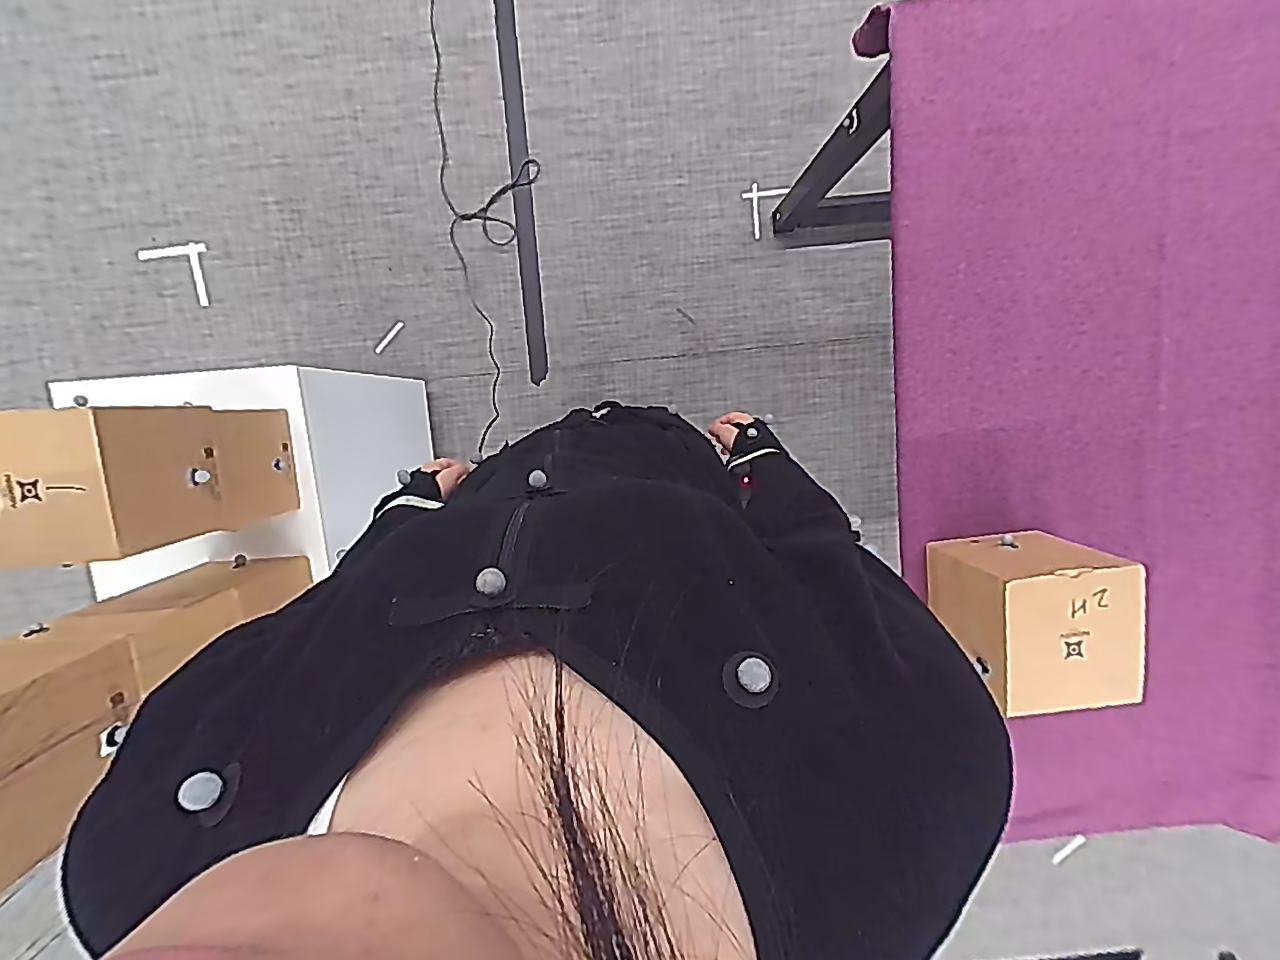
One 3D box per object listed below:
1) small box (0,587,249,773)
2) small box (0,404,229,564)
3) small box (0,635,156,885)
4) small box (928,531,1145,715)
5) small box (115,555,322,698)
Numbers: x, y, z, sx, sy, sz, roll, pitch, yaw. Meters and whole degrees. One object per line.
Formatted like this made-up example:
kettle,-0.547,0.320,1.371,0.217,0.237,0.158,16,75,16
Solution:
small box,-0.629,0.242,0.673,0.179,0.176,0.168,-5,98,0
small box,-0.638,-0.004,0.636,0.179,0.176,0.168,-3,99,-2
small box,-0.628,0.263,0.512,0.179,0.176,0.168,-6,99,-1
small box,0.504,0.177,0.712,0.168,0.176,0.179,-6,98,-1
small box,-0.633,0.220,0.834,0.179,0.176,0.168,-4,99,1
